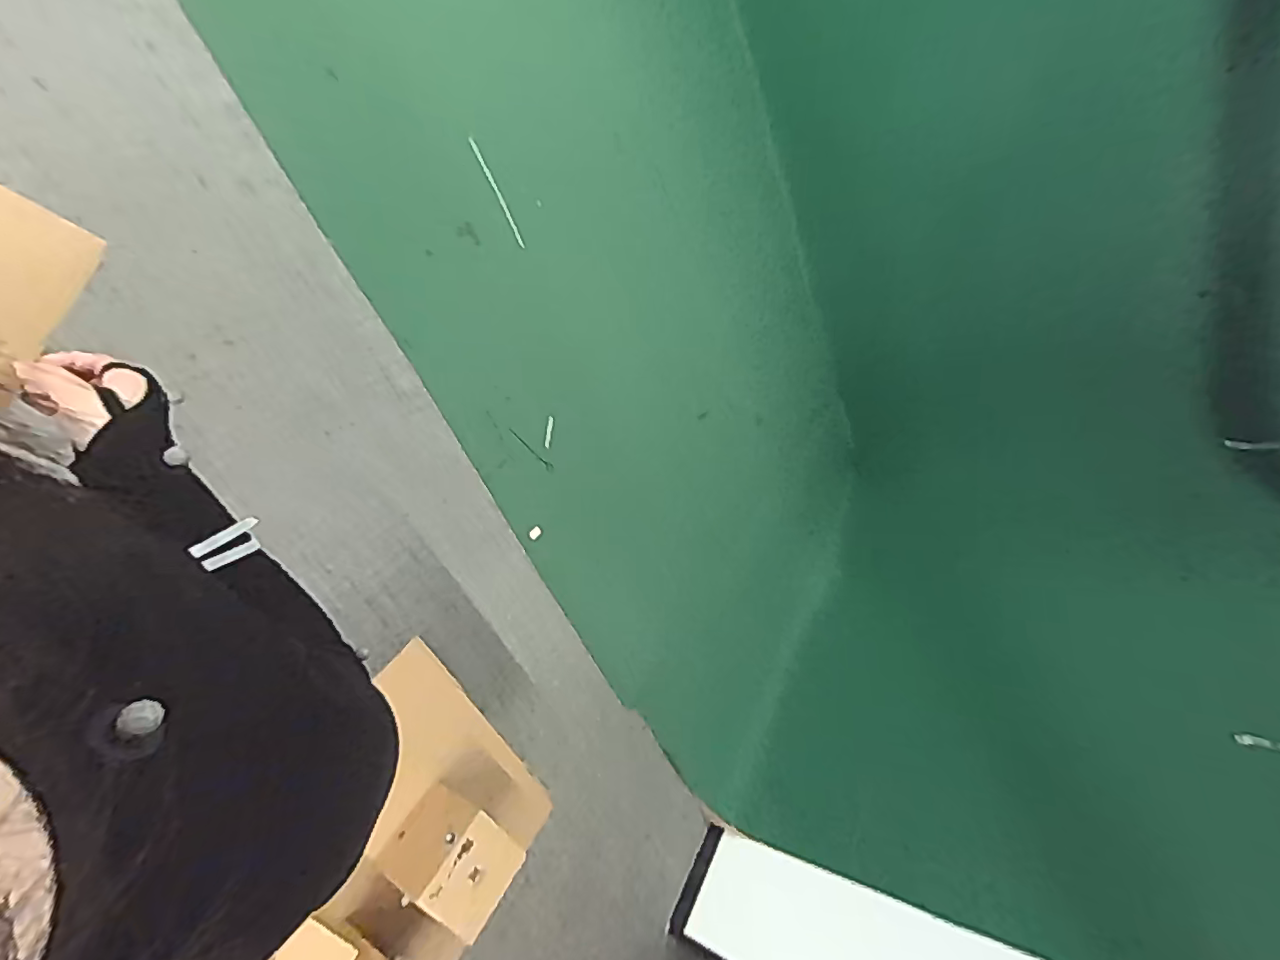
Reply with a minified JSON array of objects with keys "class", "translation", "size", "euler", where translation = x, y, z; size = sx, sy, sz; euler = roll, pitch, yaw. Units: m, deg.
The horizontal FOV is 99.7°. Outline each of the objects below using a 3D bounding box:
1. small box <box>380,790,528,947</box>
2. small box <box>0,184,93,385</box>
[{"class":"small box","translation":[-0.358,0.739,1.048],"size":[0.168,0.176,0.179],"euler":[-51,125,-40]},{"class":"small box","translation":[-0.548,-0.156,0.383],"size":[0.168,0.176,0.179],"euler":[34,78,-53]}]
